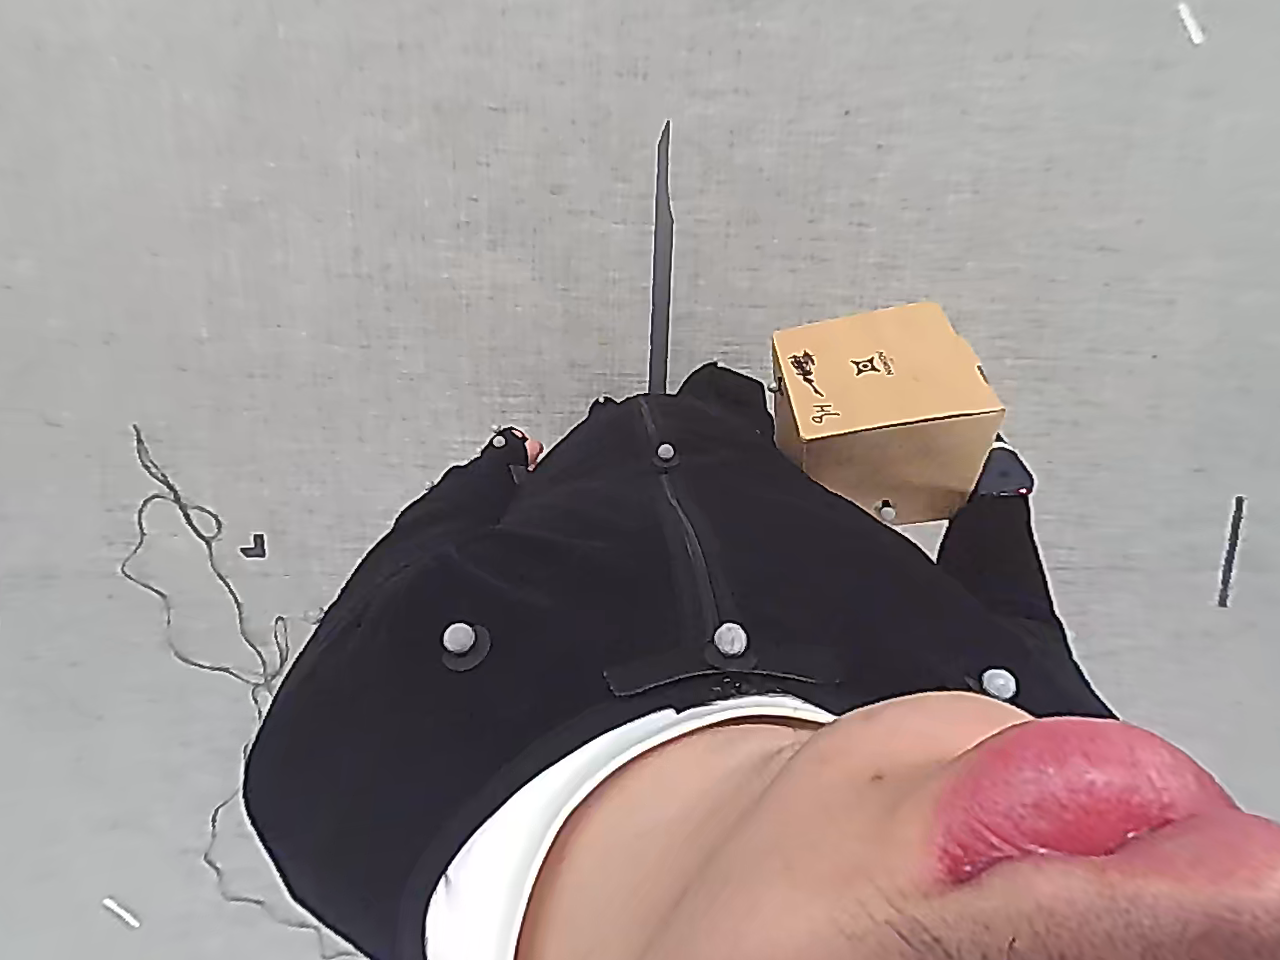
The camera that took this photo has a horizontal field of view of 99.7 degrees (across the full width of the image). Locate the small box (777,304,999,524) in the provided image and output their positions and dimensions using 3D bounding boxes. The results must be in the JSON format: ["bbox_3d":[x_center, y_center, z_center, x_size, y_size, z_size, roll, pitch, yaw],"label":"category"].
[{"bbox_3d":[0.254,-0.068,0.609,0.179,0.168,0.176,-8,140,8],"label":"small box"}]
